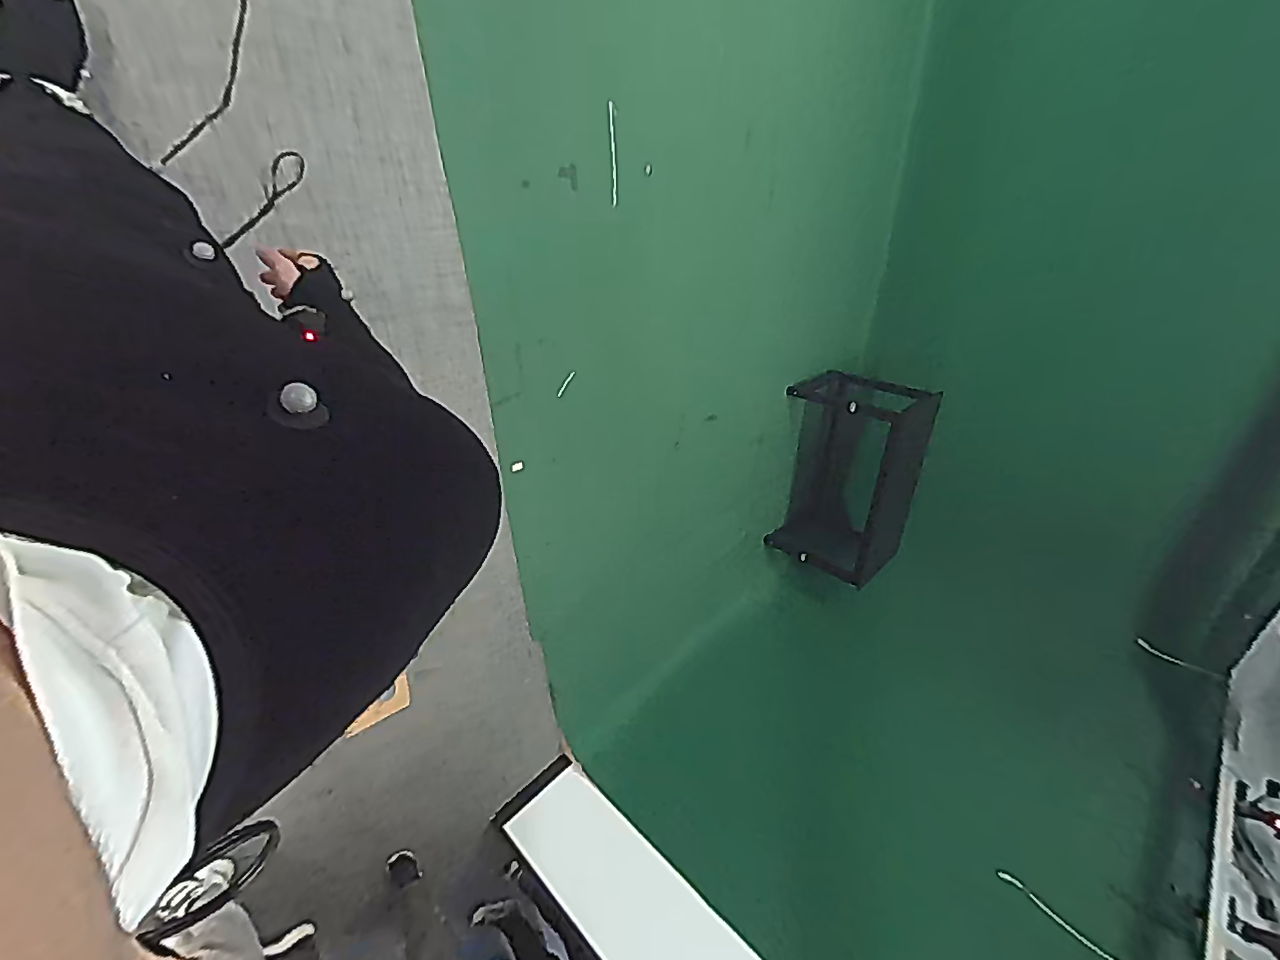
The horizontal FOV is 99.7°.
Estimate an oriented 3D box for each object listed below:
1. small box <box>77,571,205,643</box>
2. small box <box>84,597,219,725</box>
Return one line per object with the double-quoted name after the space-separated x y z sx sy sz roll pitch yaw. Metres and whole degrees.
-1.212 0.349 1.315 0.179 0.176 0.168 -28 129 -38 "small box"
-1.096 0.397 1.212 0.179 0.176 0.168 -30 130 -38 "small box"
